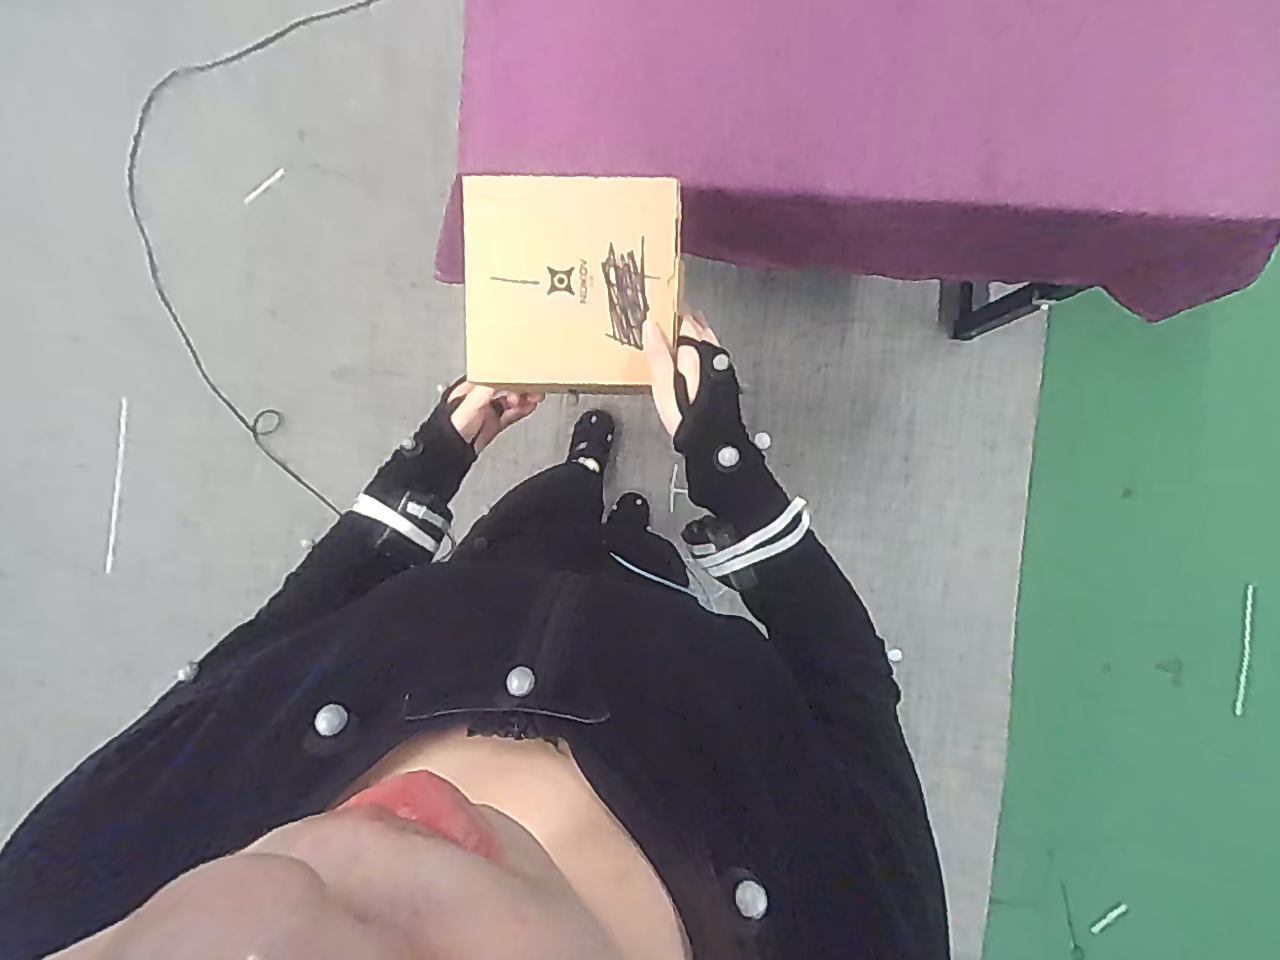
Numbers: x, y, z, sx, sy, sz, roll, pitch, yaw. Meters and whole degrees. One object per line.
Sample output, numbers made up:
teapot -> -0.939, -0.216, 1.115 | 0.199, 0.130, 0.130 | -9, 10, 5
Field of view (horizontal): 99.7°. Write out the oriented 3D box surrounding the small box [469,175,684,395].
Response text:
small box -> -0.053, -0.171, 0.524 | 0.179, 0.176, 0.168 | 1, 96, 1
